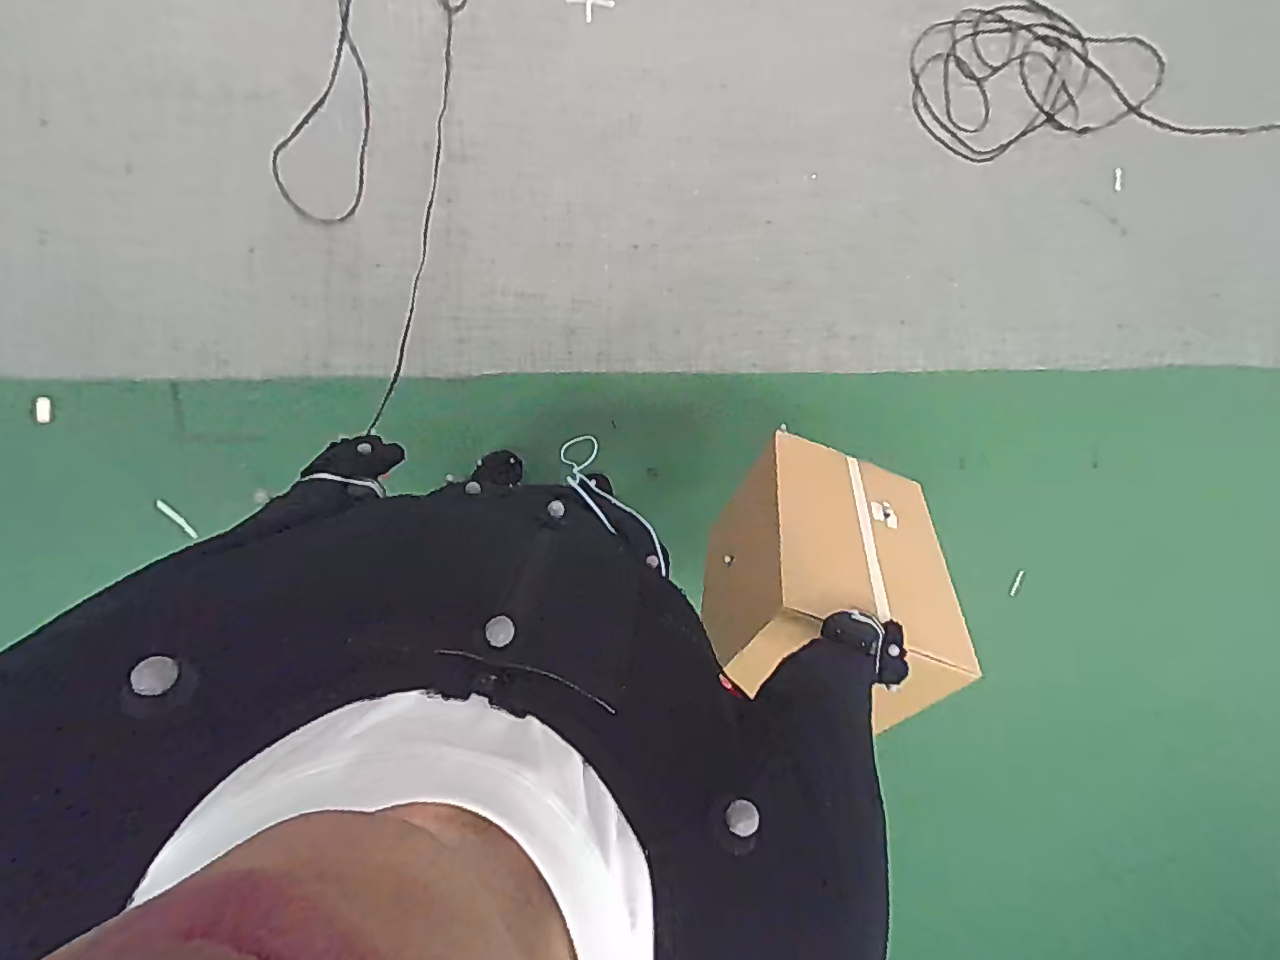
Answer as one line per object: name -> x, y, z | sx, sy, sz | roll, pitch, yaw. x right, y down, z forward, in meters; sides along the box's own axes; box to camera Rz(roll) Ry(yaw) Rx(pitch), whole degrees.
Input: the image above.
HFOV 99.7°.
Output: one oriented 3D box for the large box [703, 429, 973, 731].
large box -> 0.321, 0.182, 1.006 | 0.320, 0.408, 0.320 | 20, 132, -7
